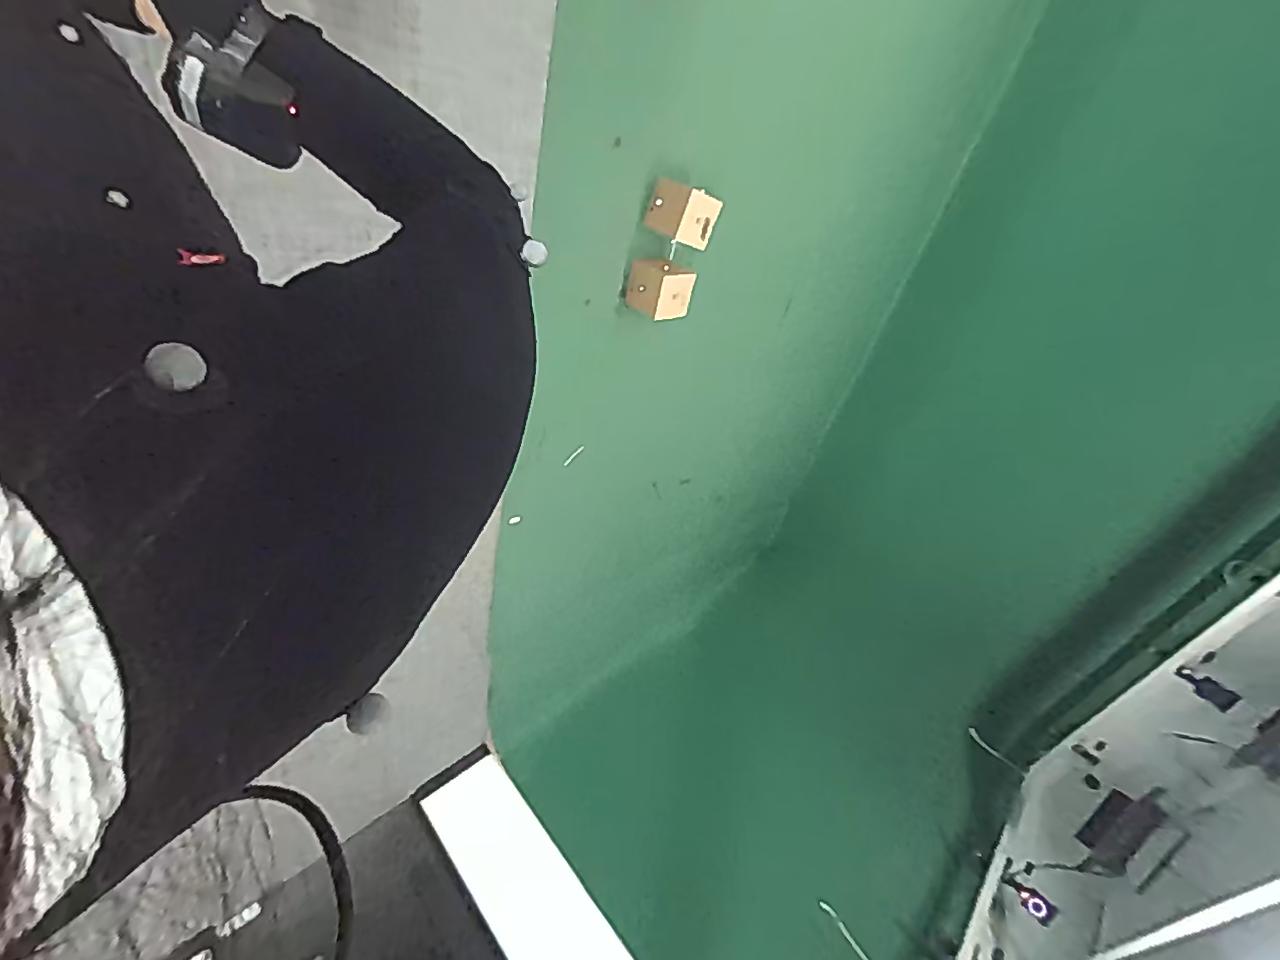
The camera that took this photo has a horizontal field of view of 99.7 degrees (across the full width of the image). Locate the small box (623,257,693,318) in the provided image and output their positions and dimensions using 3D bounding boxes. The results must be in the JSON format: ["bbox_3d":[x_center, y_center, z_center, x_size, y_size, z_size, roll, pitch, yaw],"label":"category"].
[{"bbox_3d":[0.062,-0.718,2.011,0.179,0.176,0.168,-23,141,-40],"label":"small box"}]

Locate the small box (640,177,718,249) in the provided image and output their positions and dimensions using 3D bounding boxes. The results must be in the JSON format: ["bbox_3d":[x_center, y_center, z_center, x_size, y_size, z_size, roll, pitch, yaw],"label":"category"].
[{"bbox_3d":[0.132,-0.929,1.879,0.179,0.176,0.168,-9,129,-48],"label":"small box"}]
